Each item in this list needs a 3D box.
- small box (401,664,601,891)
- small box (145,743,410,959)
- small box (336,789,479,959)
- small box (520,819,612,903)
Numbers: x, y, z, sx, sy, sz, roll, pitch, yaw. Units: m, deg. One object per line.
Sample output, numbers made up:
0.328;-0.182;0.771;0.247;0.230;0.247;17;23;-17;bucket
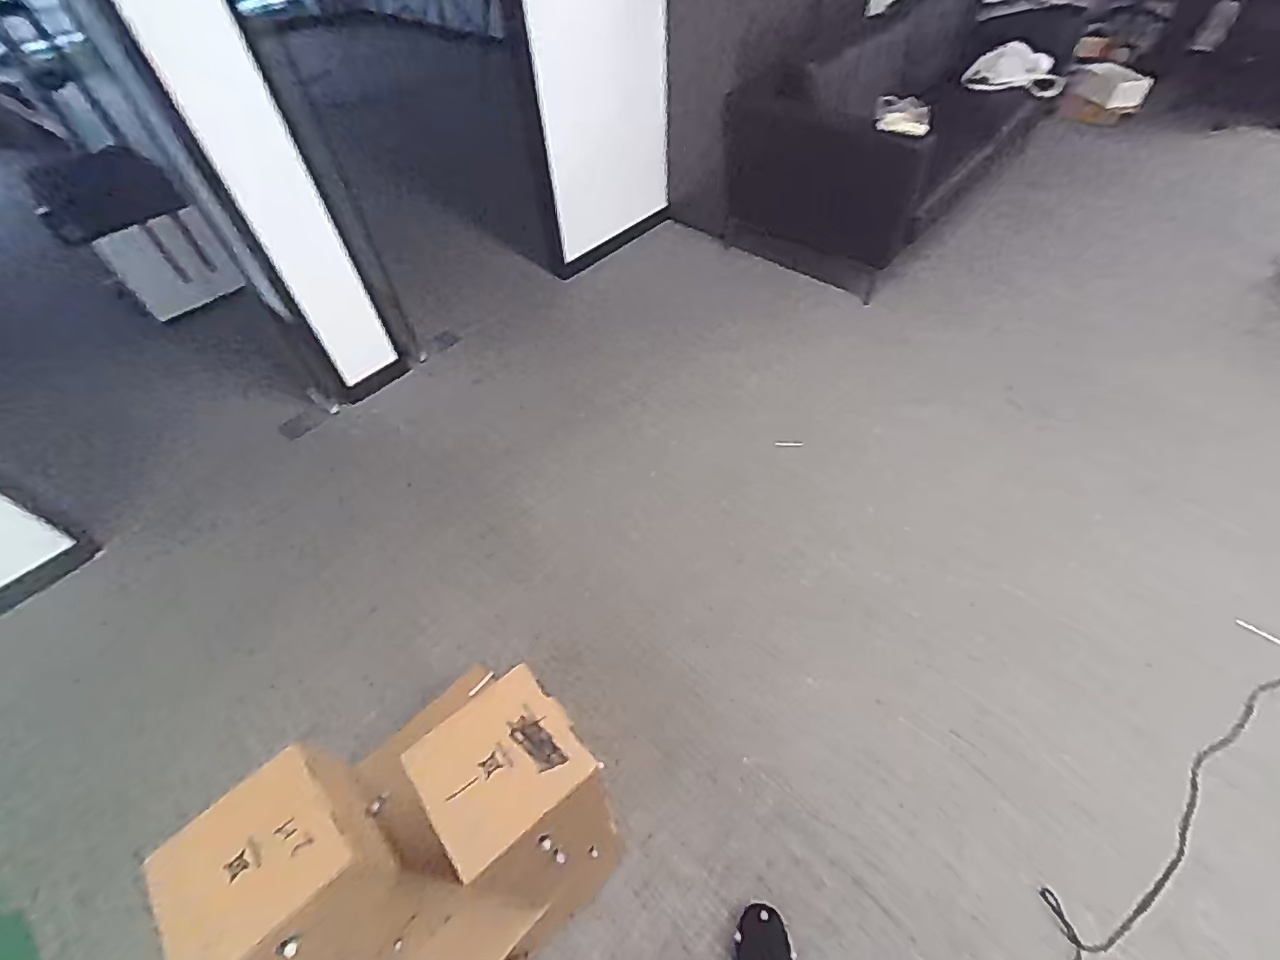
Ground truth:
-0.162;0.378;0.689;0.179;0.176;0.168;-35;56;-23;small box
-0.412;0.458;0.638;0.179;0.176;0.168;-38;57;-23;small box
-0.398;0.662;0.898;0.168;0.176;0.179;-36;55;-22;small box
-0.164;0.590;0.939;0.168;0.176;0.179;-34;55;-24;small box
